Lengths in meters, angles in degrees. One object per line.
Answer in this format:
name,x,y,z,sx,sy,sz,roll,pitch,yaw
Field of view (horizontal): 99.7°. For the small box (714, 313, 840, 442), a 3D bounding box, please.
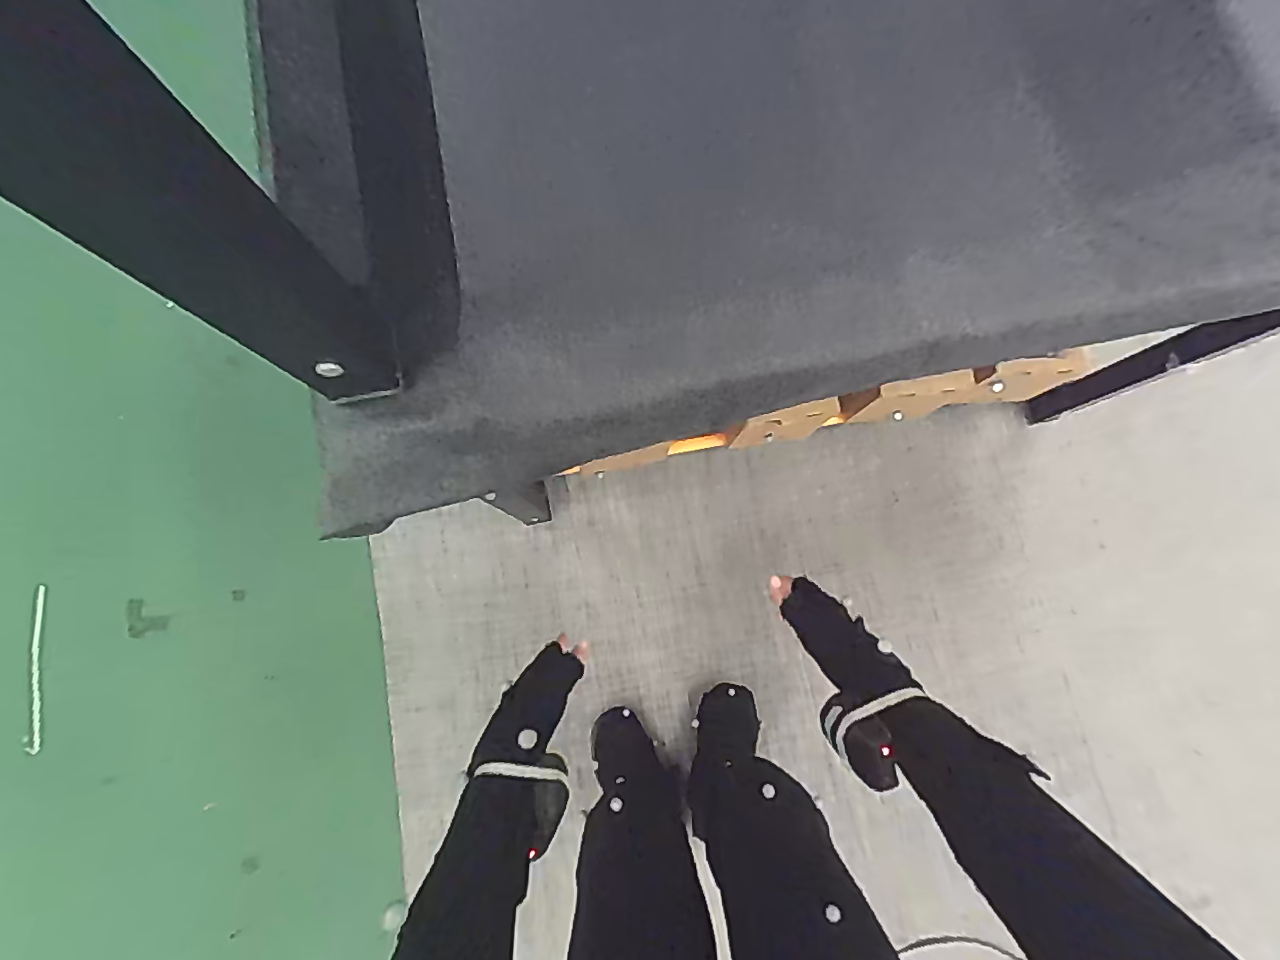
small box,0.240,-0.180,0.993,0.168,0.176,0.179,-9,82,-3
